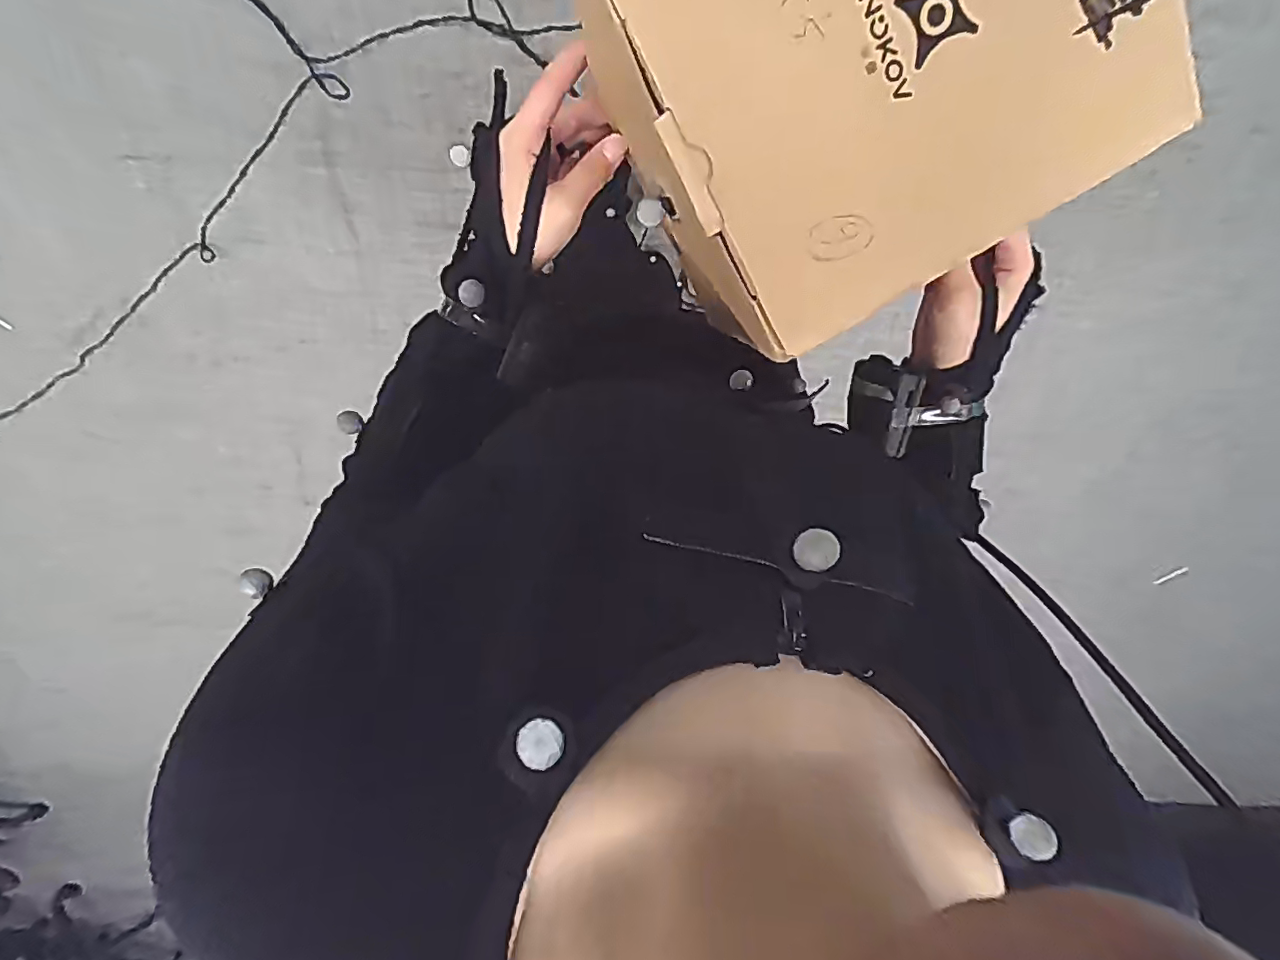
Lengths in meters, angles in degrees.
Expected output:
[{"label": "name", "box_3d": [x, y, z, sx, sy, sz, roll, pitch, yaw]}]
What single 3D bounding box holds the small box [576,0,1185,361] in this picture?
[{"label": "small box", "box_3d": [0.088, -0.181, 0.266, 0.179, 0.176, 0.168, -29, 109, 9]}]
